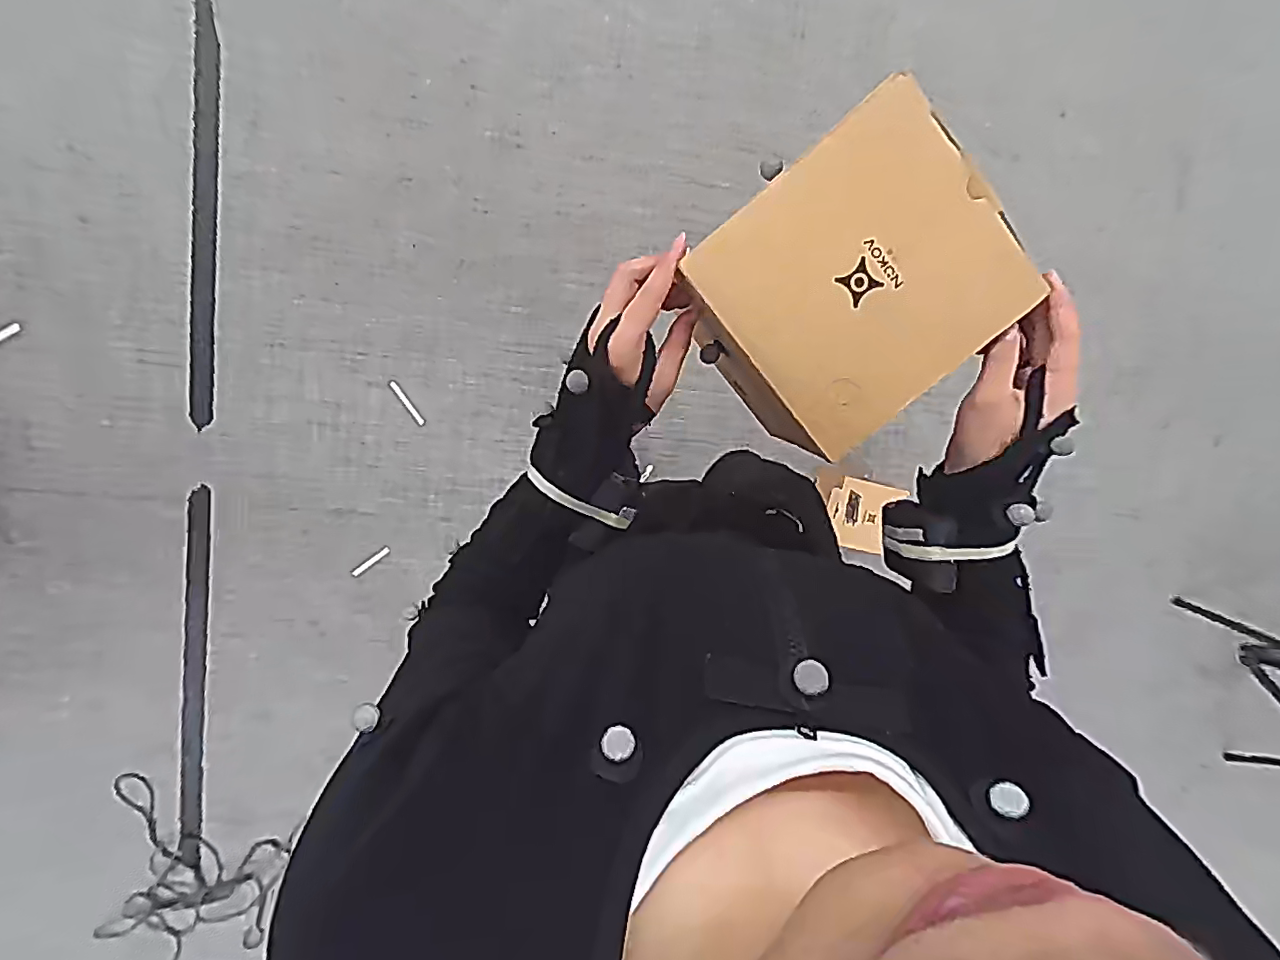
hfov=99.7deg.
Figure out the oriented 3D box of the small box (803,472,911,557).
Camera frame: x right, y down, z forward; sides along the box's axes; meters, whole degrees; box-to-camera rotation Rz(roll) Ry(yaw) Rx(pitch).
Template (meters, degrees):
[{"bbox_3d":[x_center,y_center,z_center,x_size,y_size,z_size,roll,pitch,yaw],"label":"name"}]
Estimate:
[{"bbox_3d":[0.536,0.080,1.361,0.179,0.176,0.168,13,96,-9],"label":"small box"}]
